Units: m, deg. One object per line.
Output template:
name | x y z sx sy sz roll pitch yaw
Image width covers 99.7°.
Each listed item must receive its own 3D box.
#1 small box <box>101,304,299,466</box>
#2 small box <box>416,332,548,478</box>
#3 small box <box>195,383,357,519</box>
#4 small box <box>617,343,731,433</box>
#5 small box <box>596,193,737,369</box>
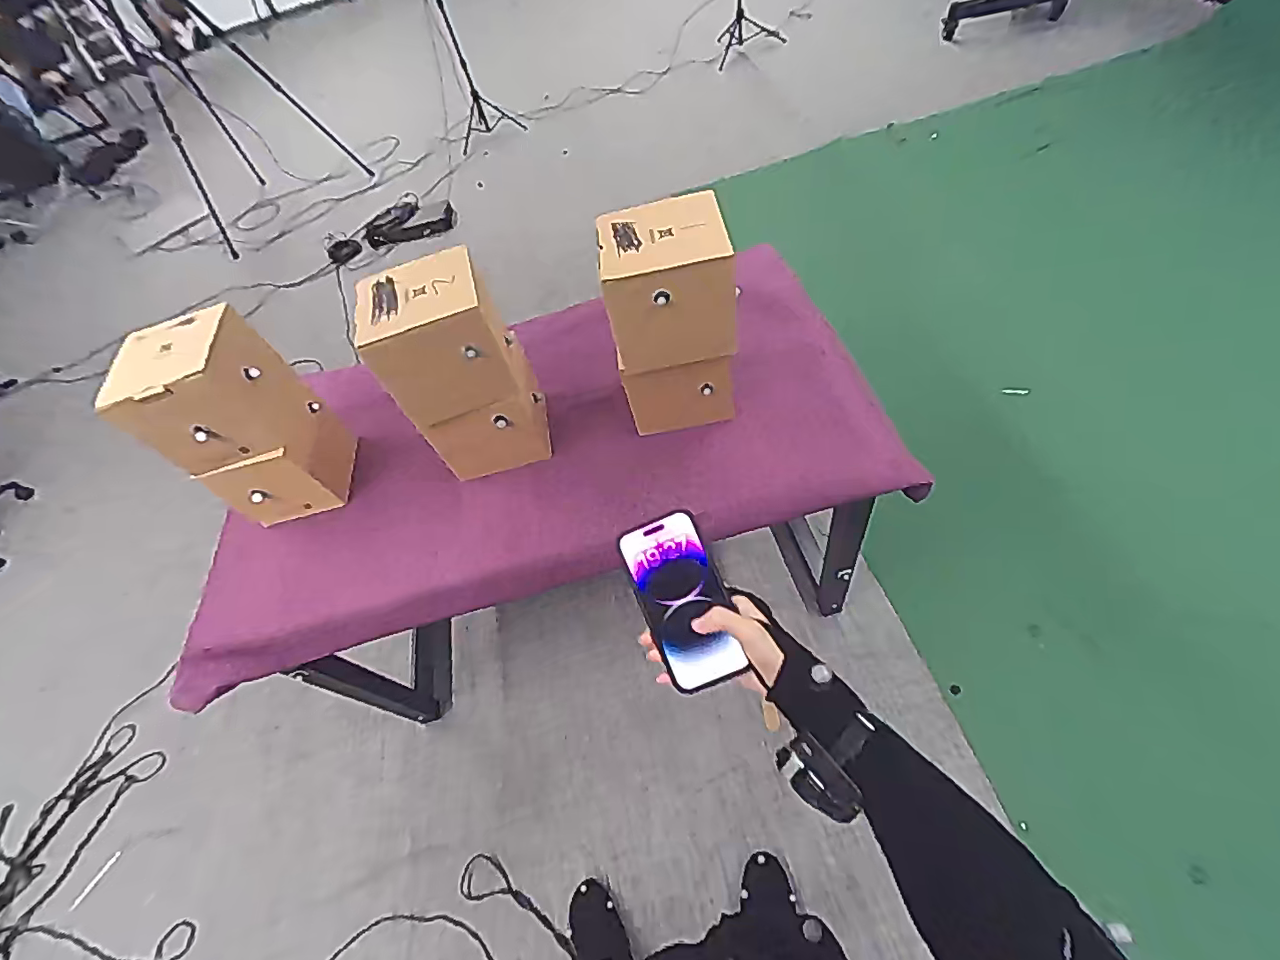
small box | -0.684 -0.142 0.867 0.168 0.176 0.179 -18 54 -1
small box | -0.271 -0.128 0.963 0.179 0.176 0.168 -15 54 3
small box | -0.651 -0.044 0.995 0.168 0.176 0.179 -14 54 3
small box | 0.061 -0.204 0.940 0.179 0.176 0.168 -10 54 7
small box | 0.041 -0.285 0.799 0.179 0.176 0.168 -10 54 6
